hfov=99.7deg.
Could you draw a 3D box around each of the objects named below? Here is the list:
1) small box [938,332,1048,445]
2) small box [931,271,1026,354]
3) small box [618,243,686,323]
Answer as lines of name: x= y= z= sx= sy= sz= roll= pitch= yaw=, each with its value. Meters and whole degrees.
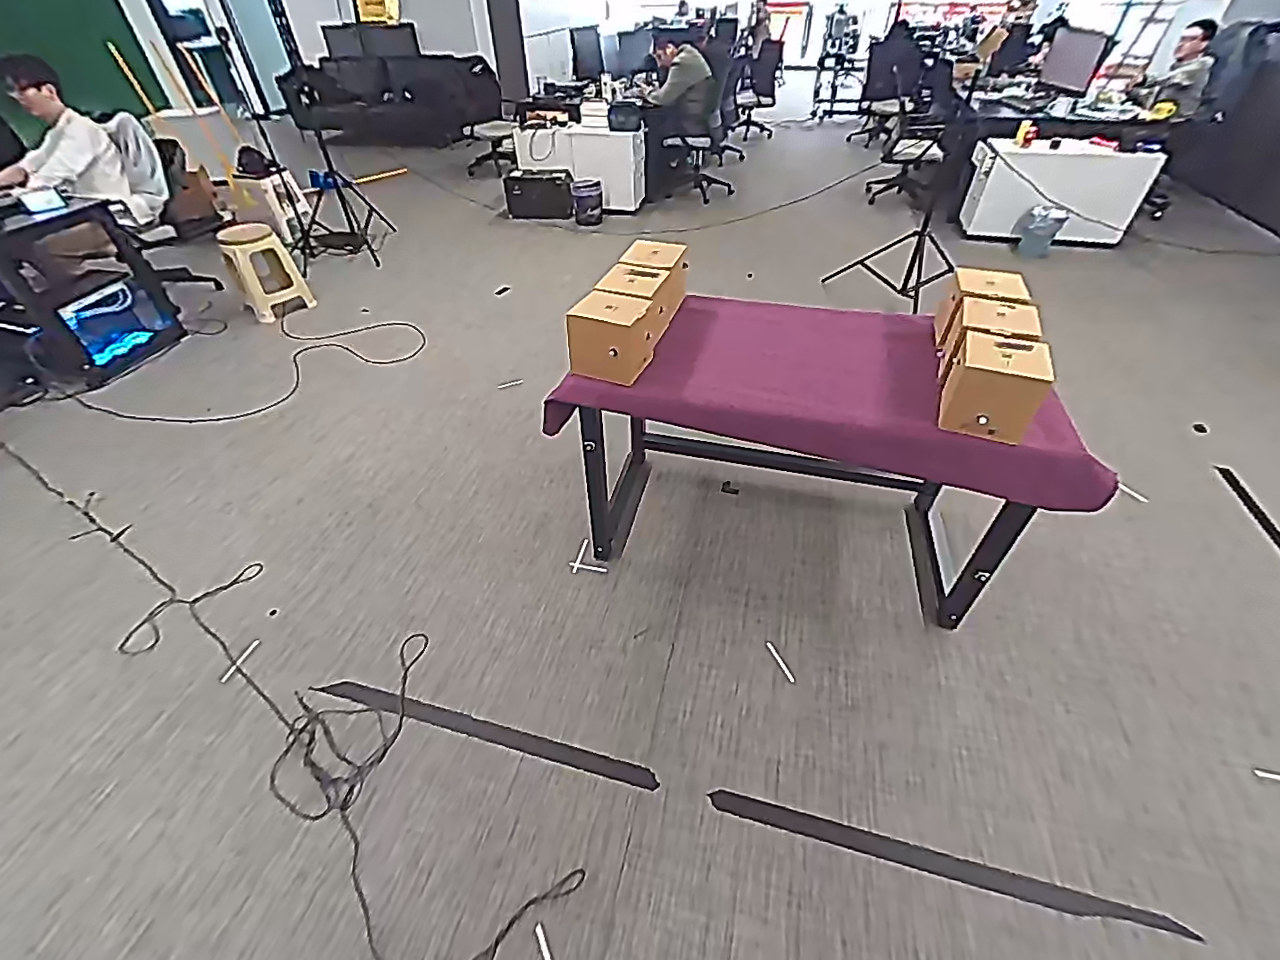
small box: x=0.798 y=-0.209 z=1.231 sx=0.168 sy=0.176 sz=0.179 roll=16 pitch=49 yaw=22
small box: x=0.926 y=-0.457 z=1.498 sx=0.168 sy=0.176 sz=0.179 roll=13 pitch=44 yaw=13
small box: x=0.038 y=-0.611 z=1.674 sx=0.168 sy=0.176 sz=0.179 roll=13 pitch=45 yaw=14
